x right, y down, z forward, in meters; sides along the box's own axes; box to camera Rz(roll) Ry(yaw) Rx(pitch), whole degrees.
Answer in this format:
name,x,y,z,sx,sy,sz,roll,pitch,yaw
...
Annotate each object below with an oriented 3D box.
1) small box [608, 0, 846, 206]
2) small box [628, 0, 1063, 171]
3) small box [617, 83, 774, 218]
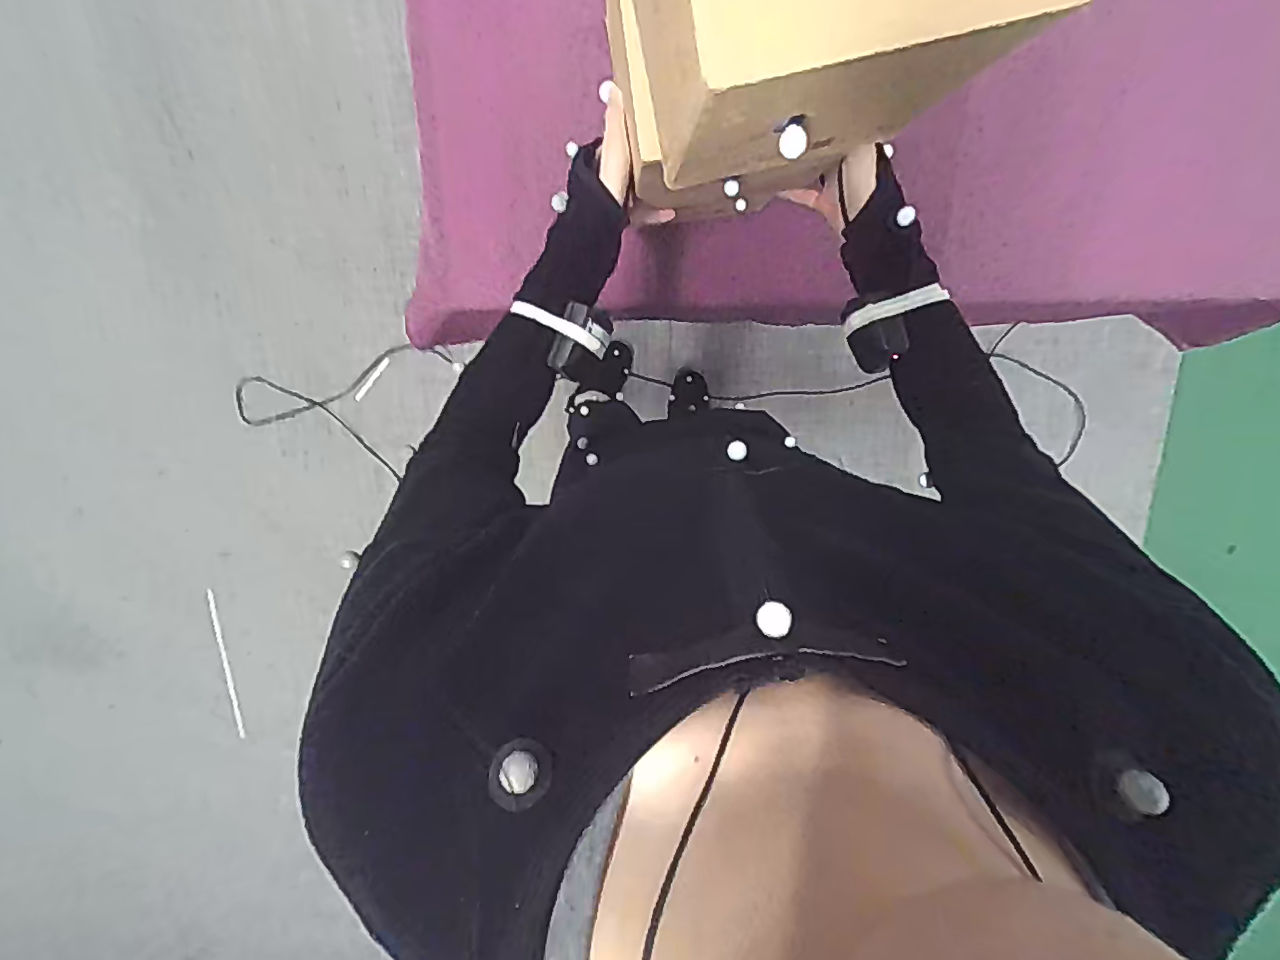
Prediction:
name,x,y,z,sx,sy,sz,roll,pitch,yaw
small box,0.071,-0.337,0.432,0.179,0.176,0.168,-10,105,3
small box,0.080,-0.283,0.278,0.168,0.176,0.179,-12,104,1
small box,0.065,-0.399,0.587,0.168,0.176,0.179,-8,102,0
